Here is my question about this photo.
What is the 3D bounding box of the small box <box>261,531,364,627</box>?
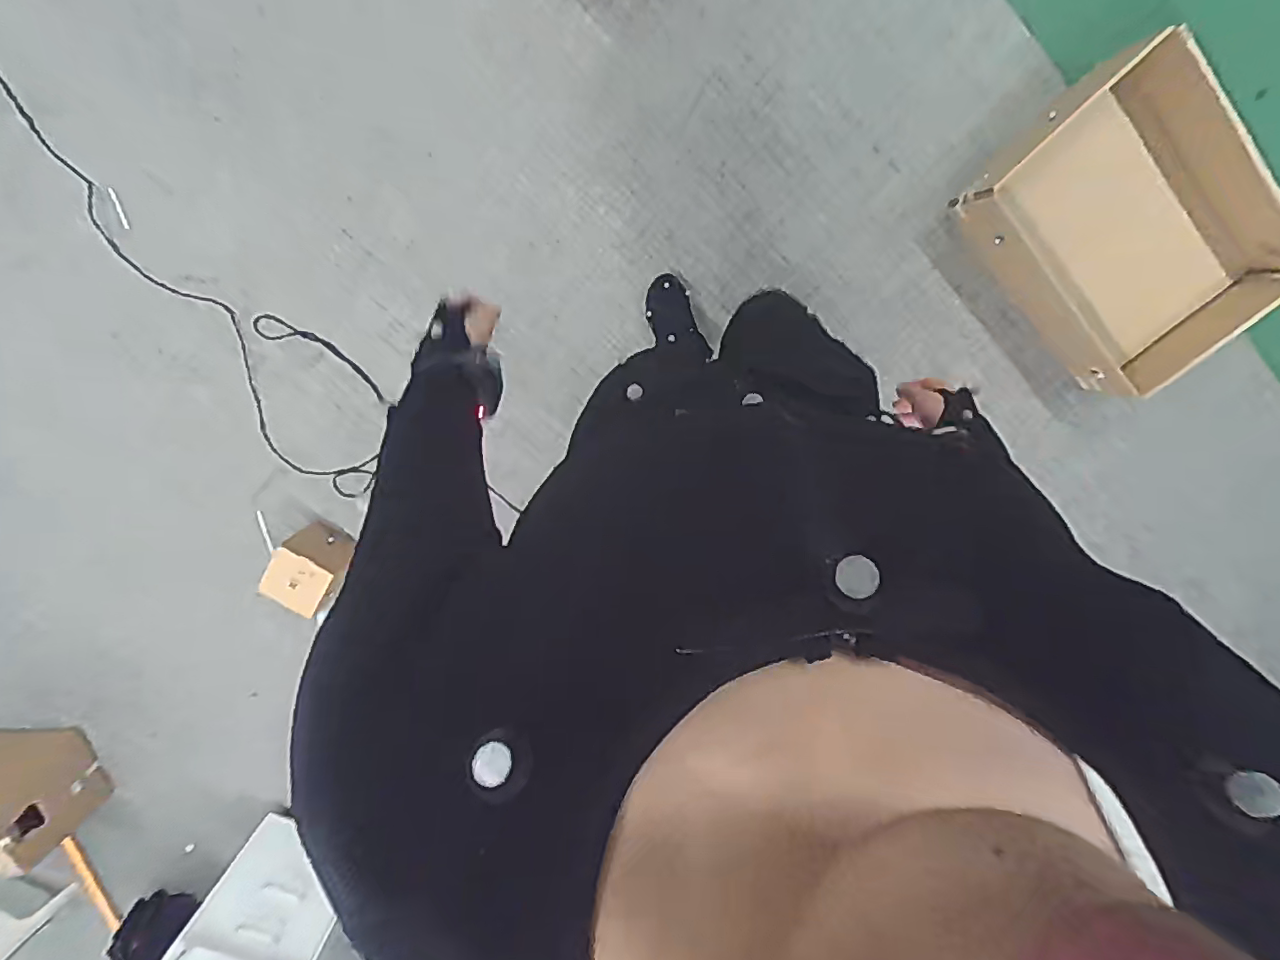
[{"bbox_3d":[-0.937,0.280,1.563,0.168,0.176,0.179,33,107,-9],"label":"small box"}]
